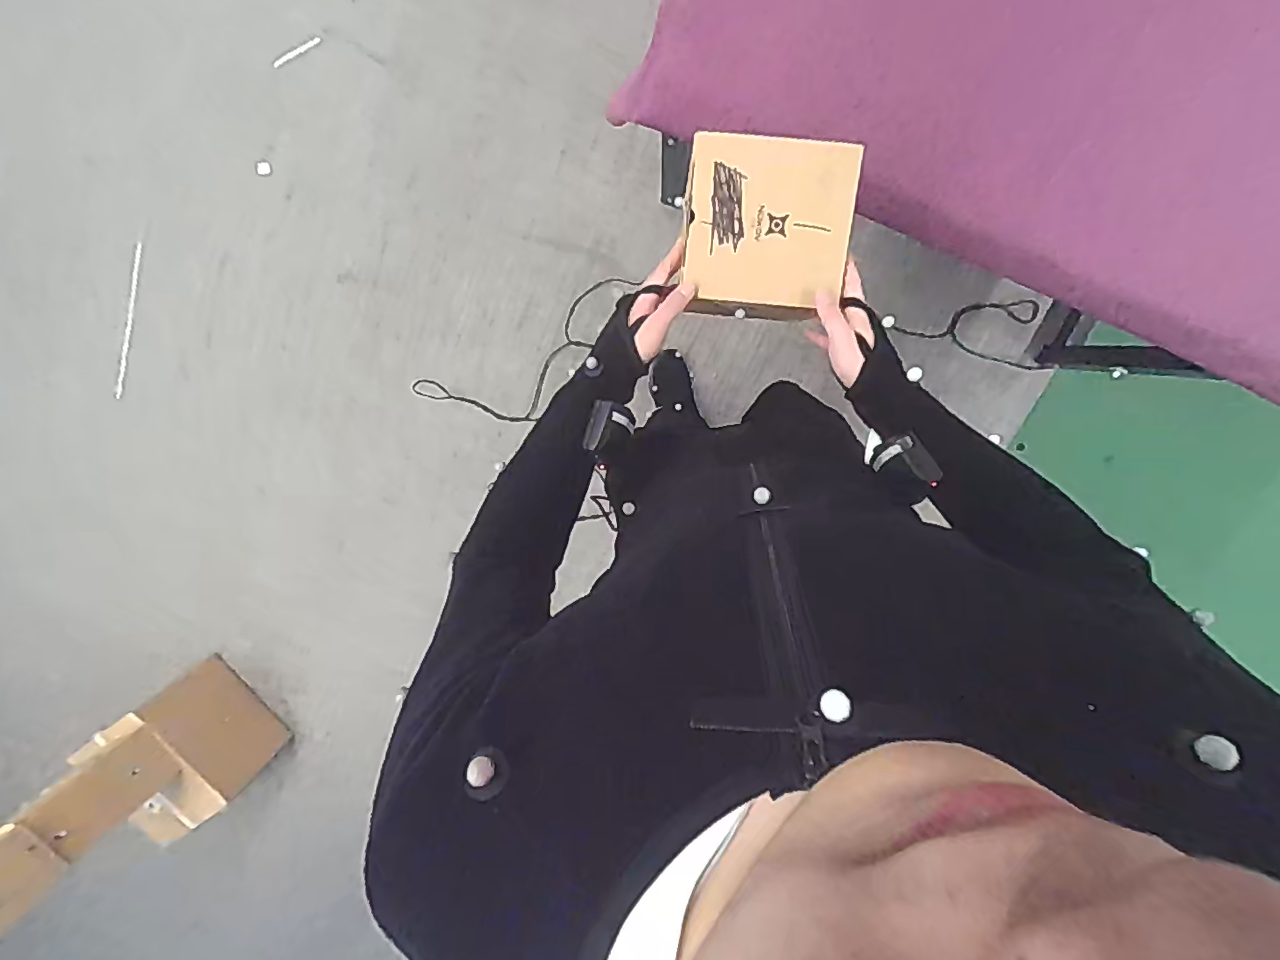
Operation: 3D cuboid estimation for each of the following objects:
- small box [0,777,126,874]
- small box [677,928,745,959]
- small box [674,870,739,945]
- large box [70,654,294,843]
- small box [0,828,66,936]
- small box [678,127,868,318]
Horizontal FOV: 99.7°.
[{"bbox_3d":[-1.480,0.886,1.360,0.168,0.176,0.179,-31,103,9],"label":"small box"},{"bbox_3d":[0.189,1.310,1.402,0.179,0.176,0.168,-6,105,4],"label":"small box"},{"bbox_3d":[0.195,1.269,1.561,0.179,0.176,0.168,-8,104,4],"label":"small box"},{"bbox_3d":[-1.474,0.868,1.778,0.320,0.320,0.408,-34,102,11],"label":"large box"},{"bbox_3d":[-1.467,0.927,1.201,0.179,0.176,0.168,-29,104,9],"label":"small box"},{"bbox_3d":[0.140,-0.288,0.642,0.179,0.176,0.168,5,103,0],"label":"small box"}]
